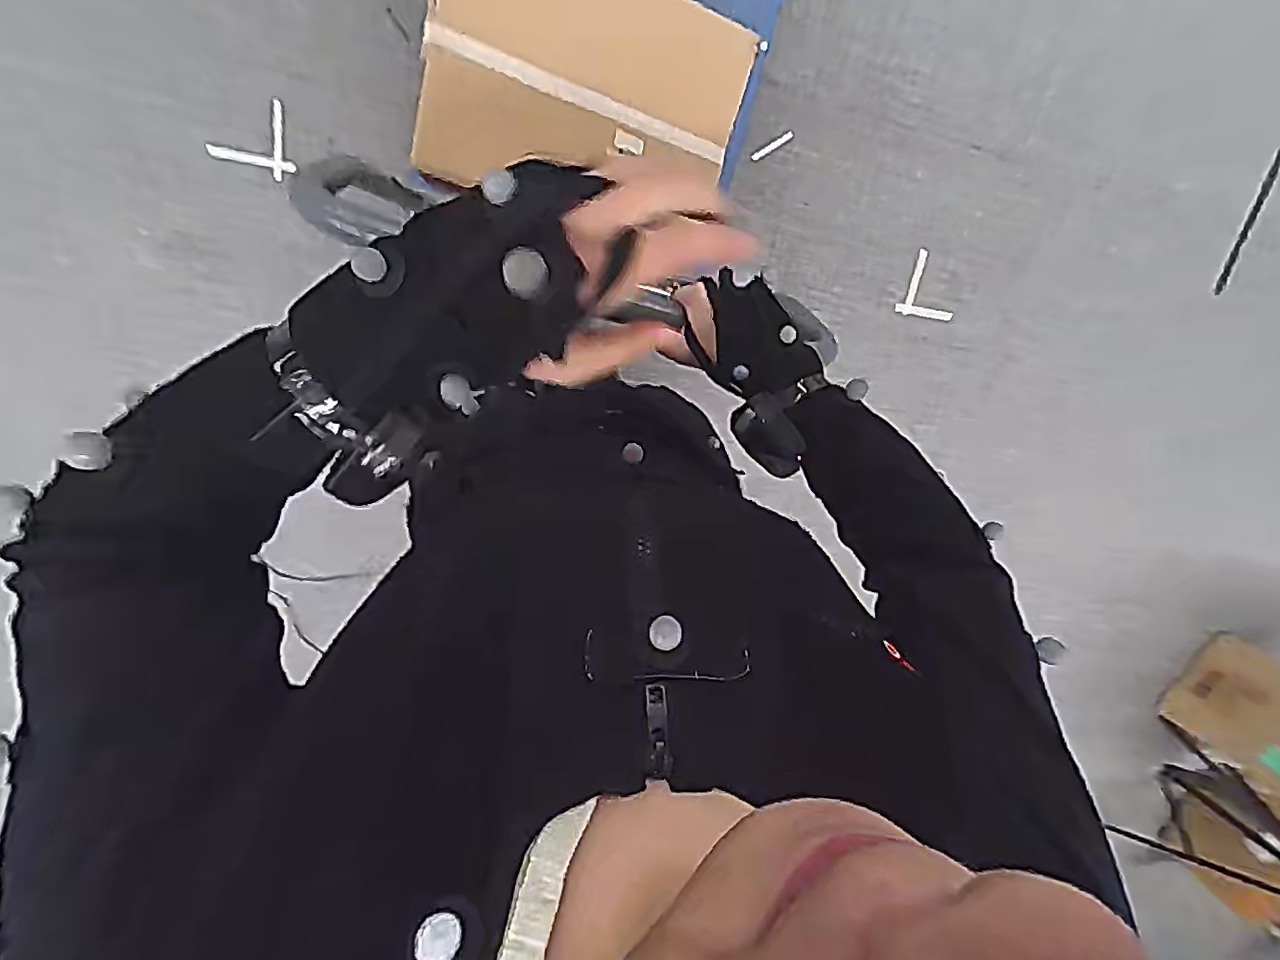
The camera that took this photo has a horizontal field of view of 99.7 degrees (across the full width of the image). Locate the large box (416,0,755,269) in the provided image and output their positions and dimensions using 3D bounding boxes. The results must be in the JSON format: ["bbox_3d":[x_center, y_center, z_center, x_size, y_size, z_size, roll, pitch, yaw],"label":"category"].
[{"bbox_3d":[-0.101,-0.555,0.857,0.408,0.320,0.320,13,106,-18],"label":"large box"}]
